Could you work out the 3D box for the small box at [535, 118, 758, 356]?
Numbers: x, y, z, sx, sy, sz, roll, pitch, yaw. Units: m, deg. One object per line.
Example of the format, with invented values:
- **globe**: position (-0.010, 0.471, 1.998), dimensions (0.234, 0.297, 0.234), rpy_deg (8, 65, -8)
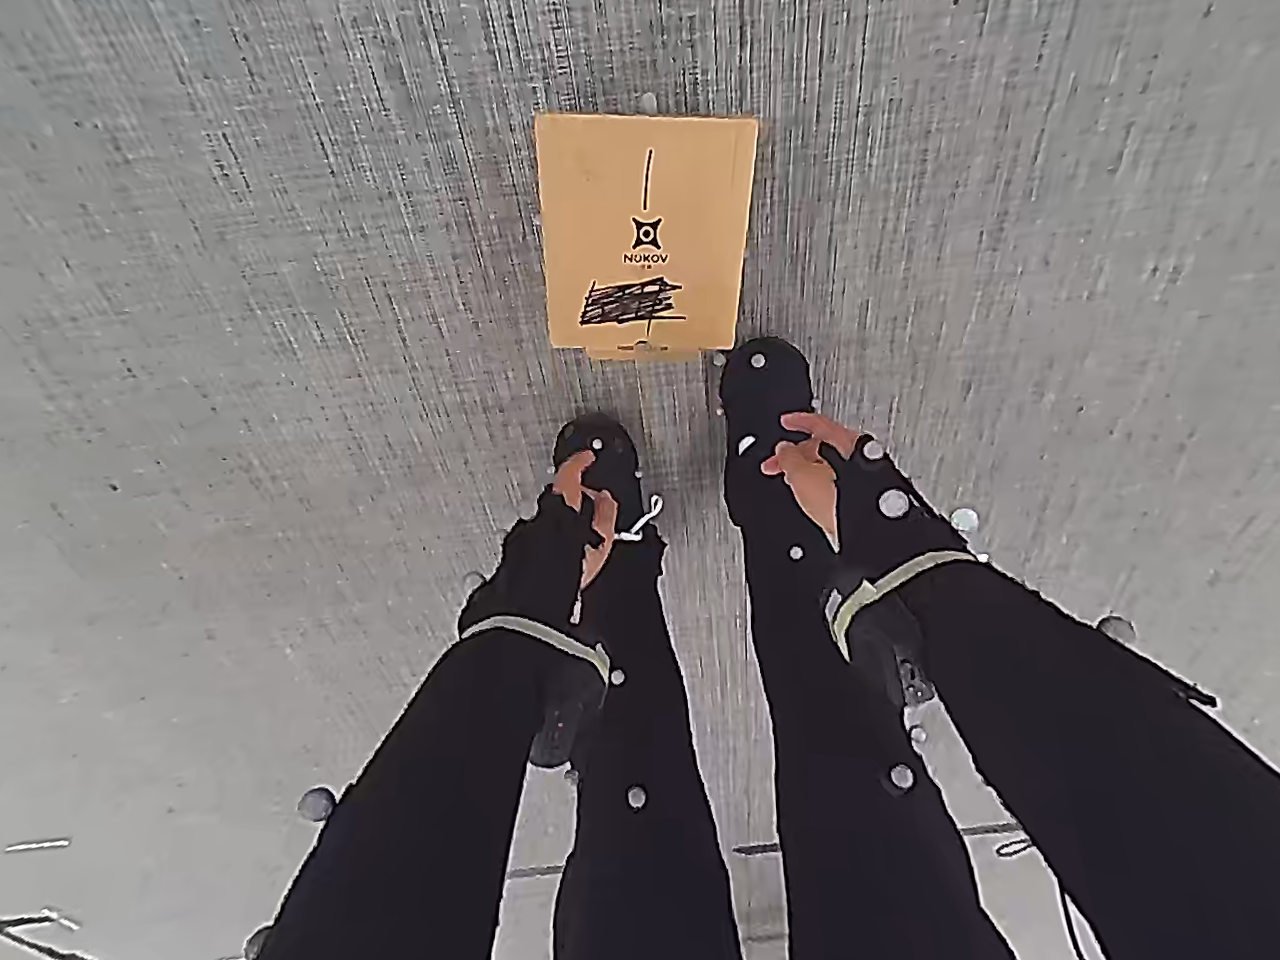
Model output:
- **small box**: position (0.000, -0.229, 0.503), dimensions (0.168, 0.176, 0.179), rpy_deg (0, 123, -3)
